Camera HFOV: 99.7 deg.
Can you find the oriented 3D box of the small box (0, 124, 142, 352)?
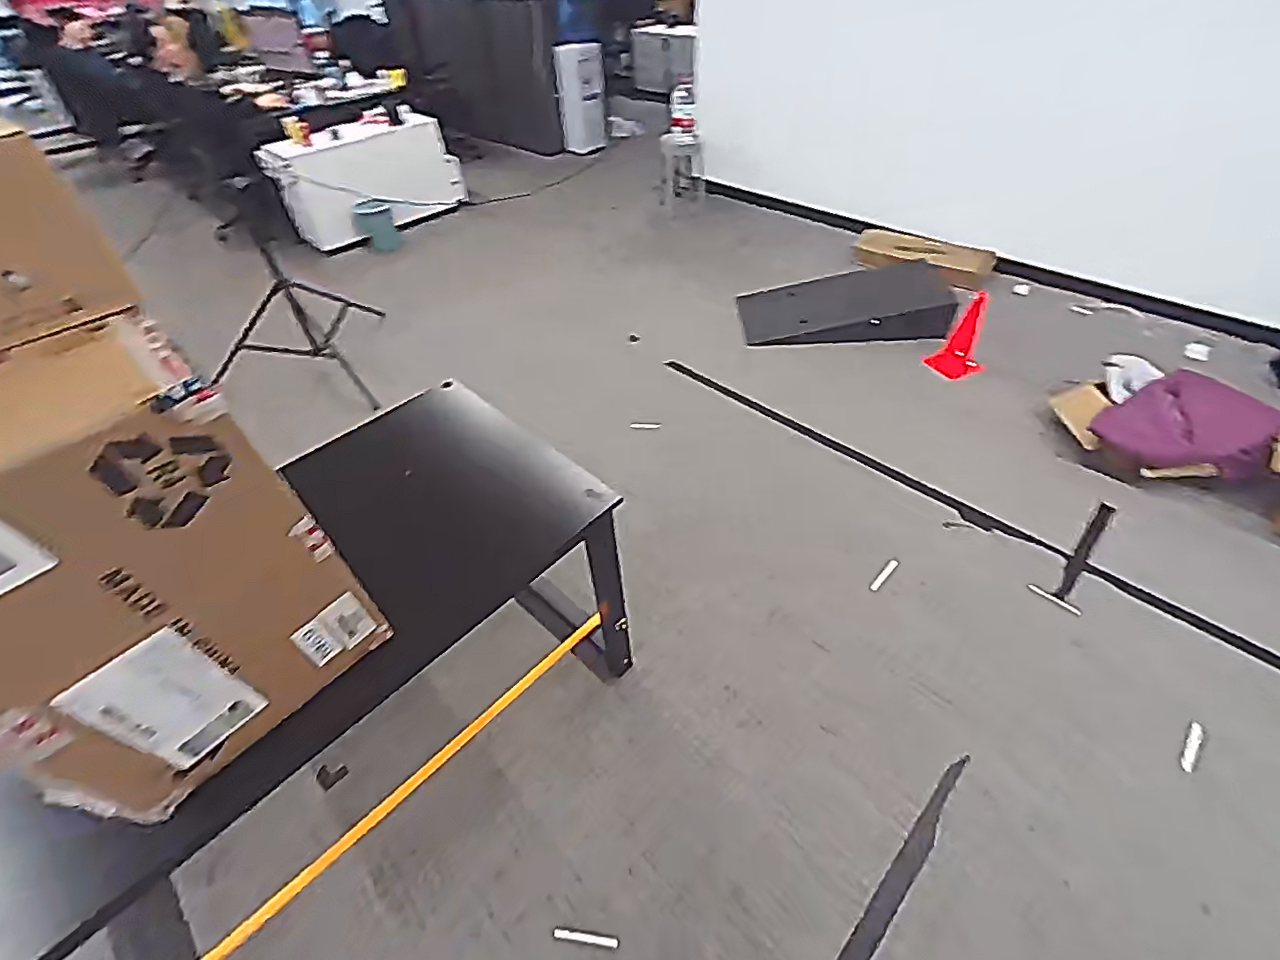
[{"bbox_3d":[-0.681,-0.248,0.558,0.179,0.176,0.168,29,53,30],"label":"small box"}]
